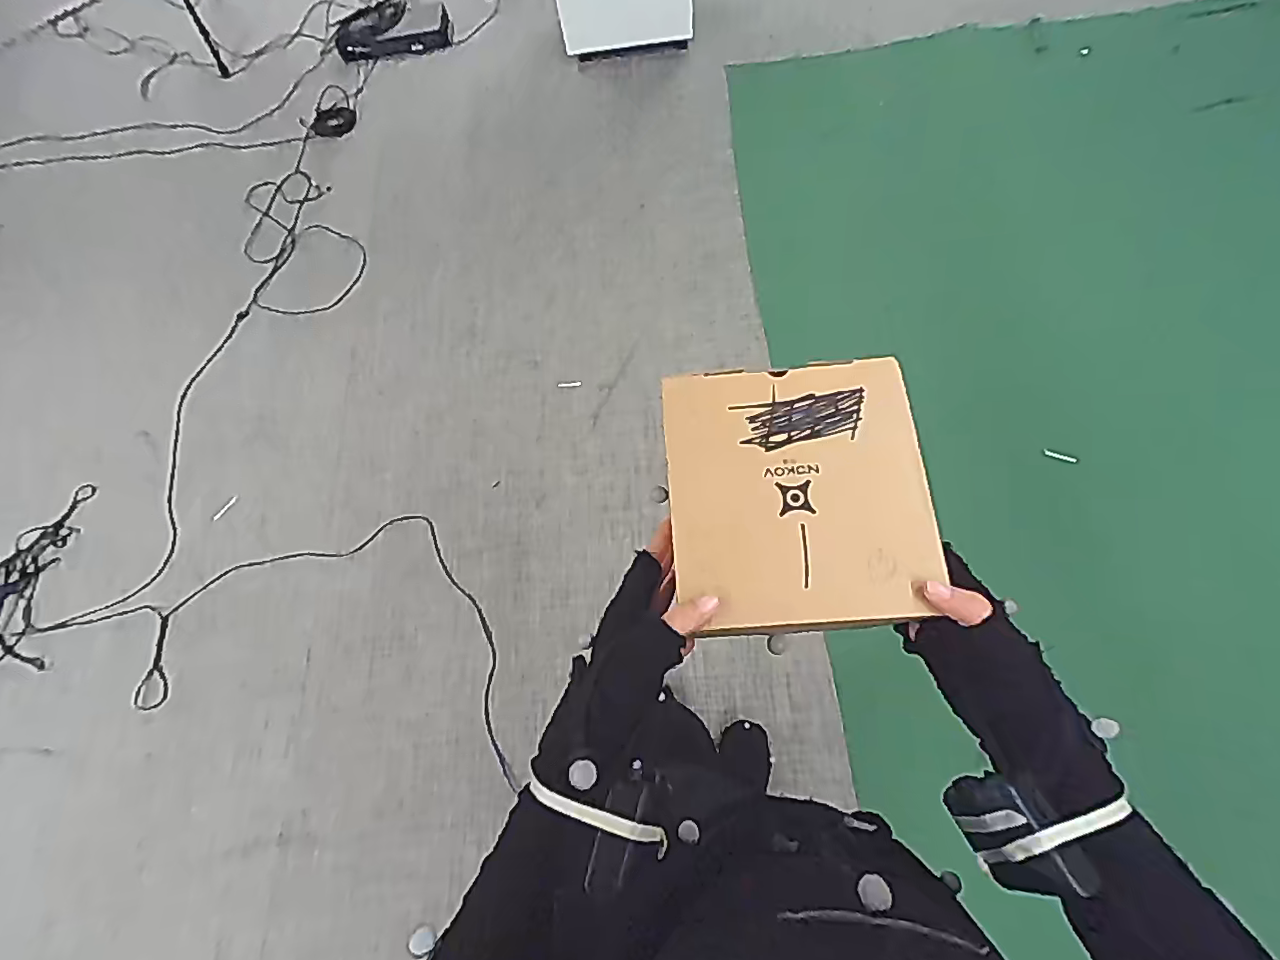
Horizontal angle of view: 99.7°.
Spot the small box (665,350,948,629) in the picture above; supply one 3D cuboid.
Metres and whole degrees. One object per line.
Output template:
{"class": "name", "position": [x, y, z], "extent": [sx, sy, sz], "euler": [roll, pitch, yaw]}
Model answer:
{"class": "small box", "position": [0.106, 0.020, 0.431], "extent": [0.168, 0.176, 0.179], "euler": [-5, 72, 3]}
